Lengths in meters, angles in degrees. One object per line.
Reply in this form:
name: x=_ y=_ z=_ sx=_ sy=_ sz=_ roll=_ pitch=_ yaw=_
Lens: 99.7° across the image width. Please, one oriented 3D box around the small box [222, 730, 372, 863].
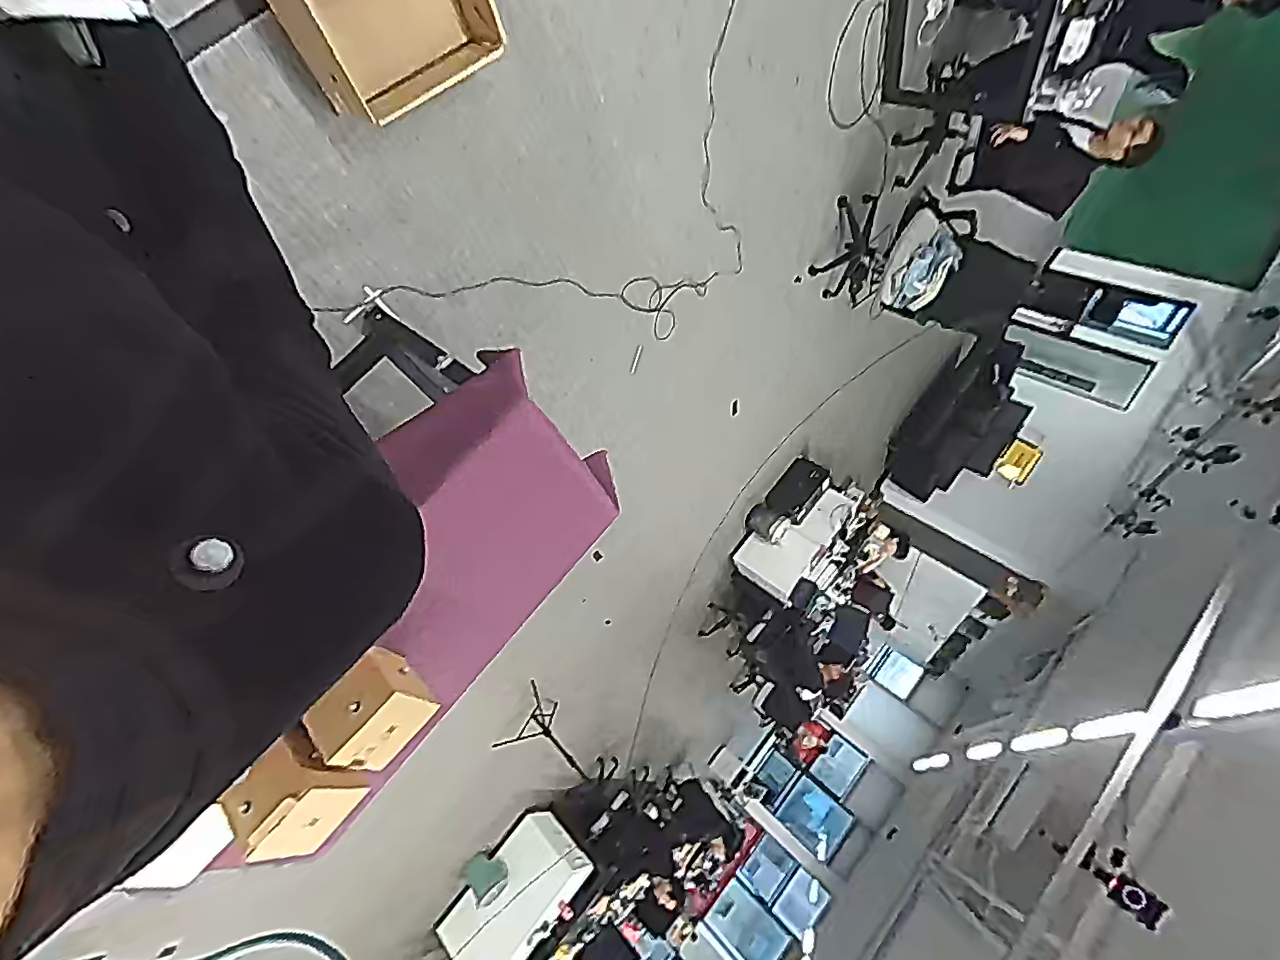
small box: x=-0.708 y=0.646 z=1.118 sx=0.168 sy=0.176 sz=0.179 roll=-48 pitch=149 yaw=-13
